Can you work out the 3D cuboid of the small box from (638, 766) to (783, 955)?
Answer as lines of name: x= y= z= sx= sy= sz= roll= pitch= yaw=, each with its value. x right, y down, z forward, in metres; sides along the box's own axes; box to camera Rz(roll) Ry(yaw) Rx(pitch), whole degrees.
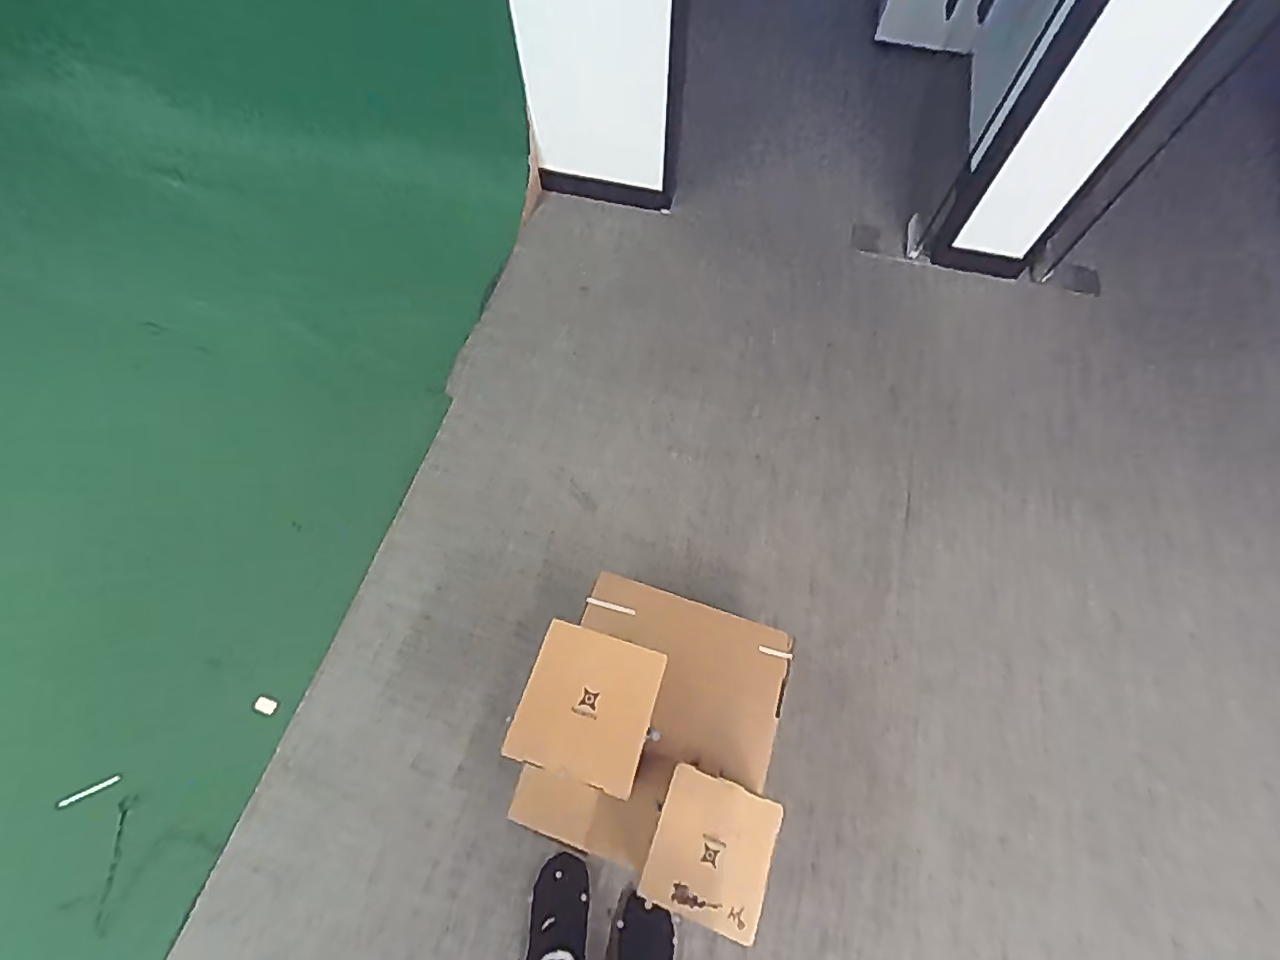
small box: x=0.098 y=0.554 z=0.817 sx=0.168 sy=0.176 sz=0.179 roll=19 pitch=64 yaw=9

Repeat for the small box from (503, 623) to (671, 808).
small box: x=-0.065 y=0.323 z=0.751 sx=0.168 sy=0.176 sz=0.179 roll=17 pitch=66 yaw=8
